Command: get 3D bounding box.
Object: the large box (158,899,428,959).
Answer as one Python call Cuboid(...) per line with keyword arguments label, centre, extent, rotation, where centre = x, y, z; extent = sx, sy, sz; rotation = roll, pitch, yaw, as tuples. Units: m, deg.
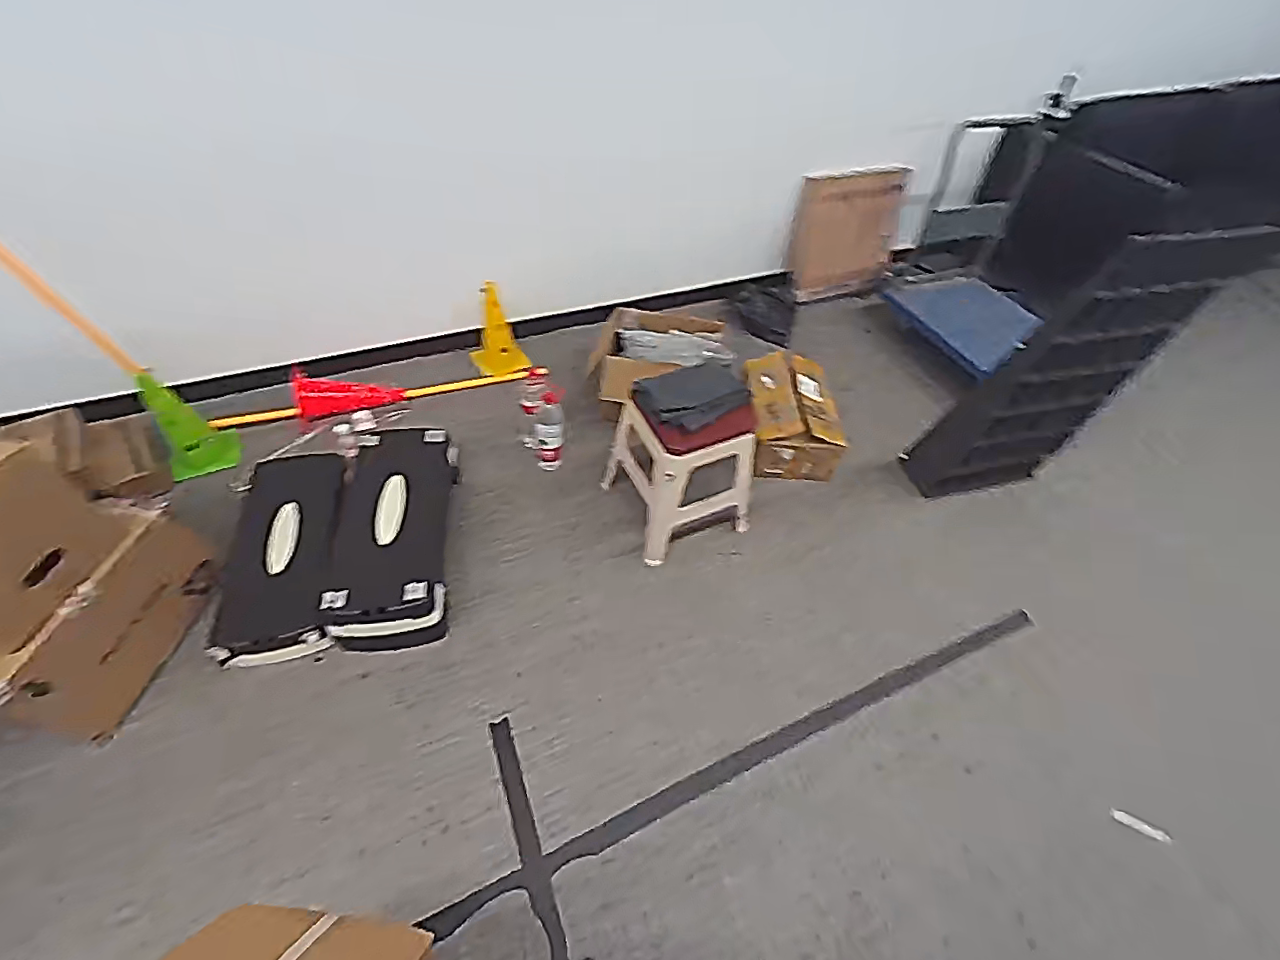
Cuboid(label="large box", centre=(-0.496, 0.774, 0.614), extent=(0.320, 0.408, 0.320), rotation=(9, 74, 2))
